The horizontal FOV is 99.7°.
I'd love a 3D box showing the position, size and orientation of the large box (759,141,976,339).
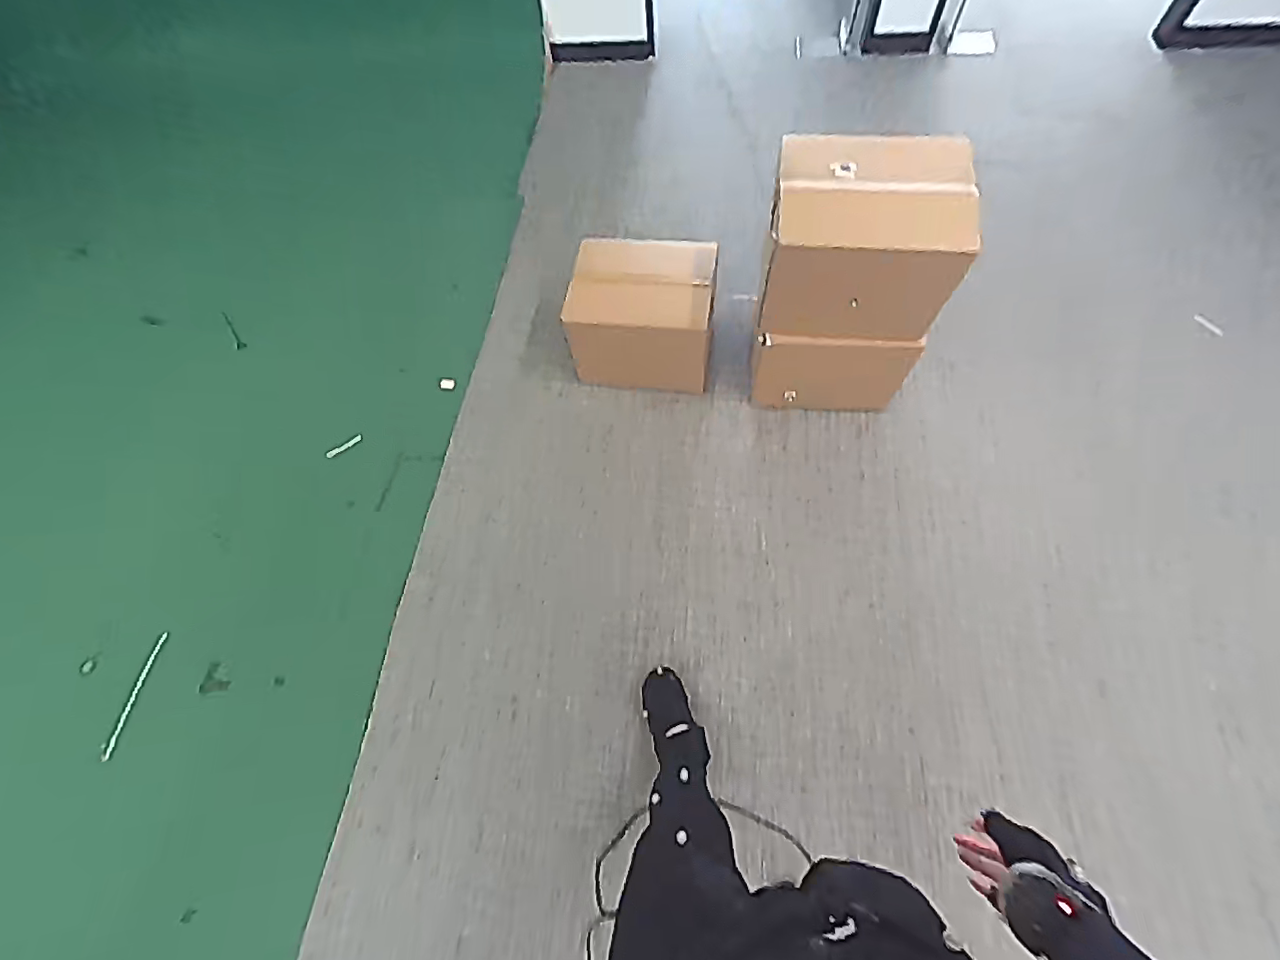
[{"bbox_3d":[0.508,-0.556,1.290,0.408,0.320,0.320,5,70,8],"label":"large box"}]
